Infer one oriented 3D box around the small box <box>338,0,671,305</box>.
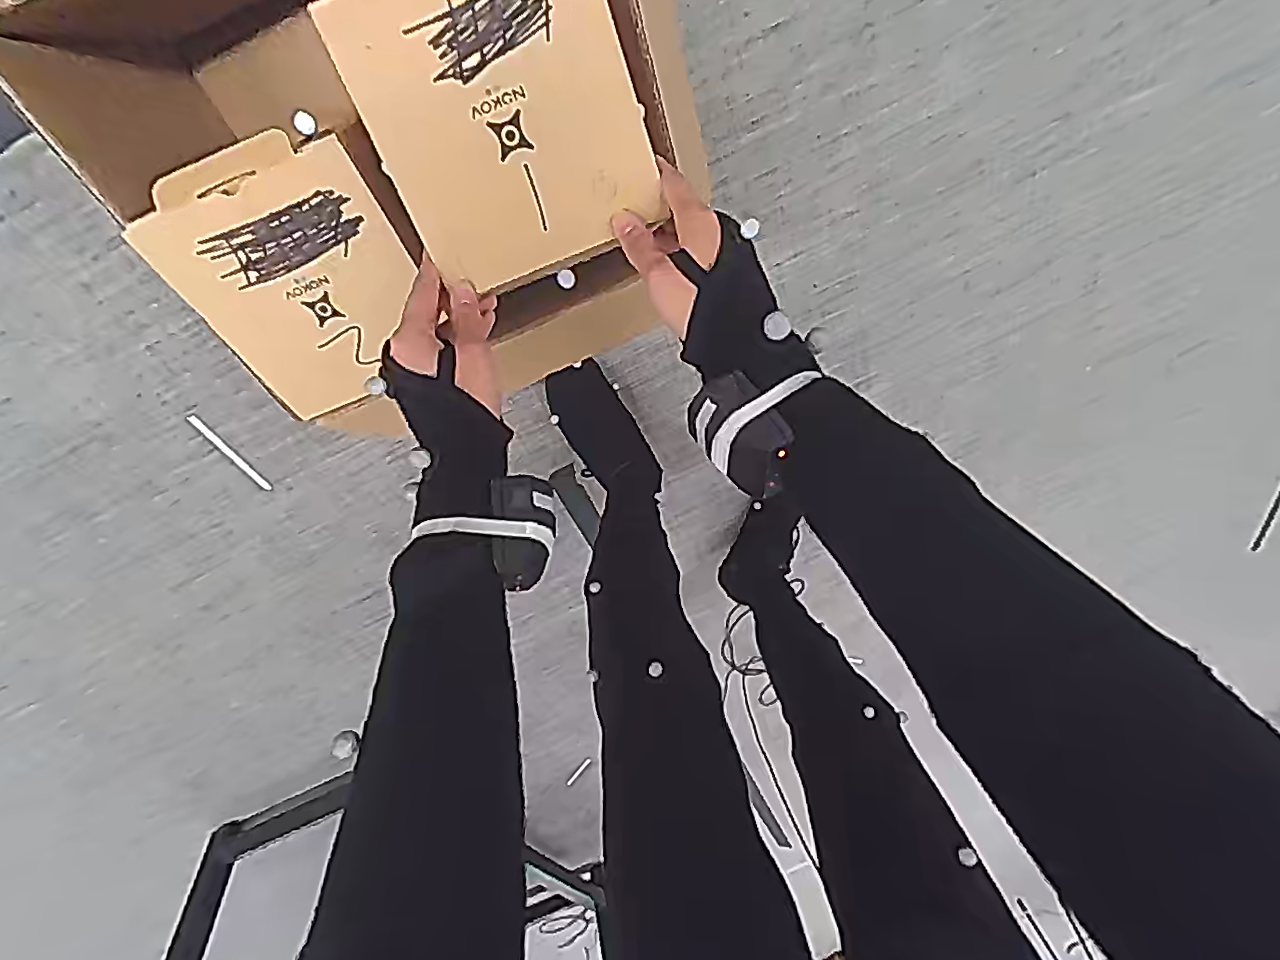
[{"bbox_3d":[-0.090,-0.252,0.430,0.168,0.176,0.179,-21,110,2],"label":"small box"}]
